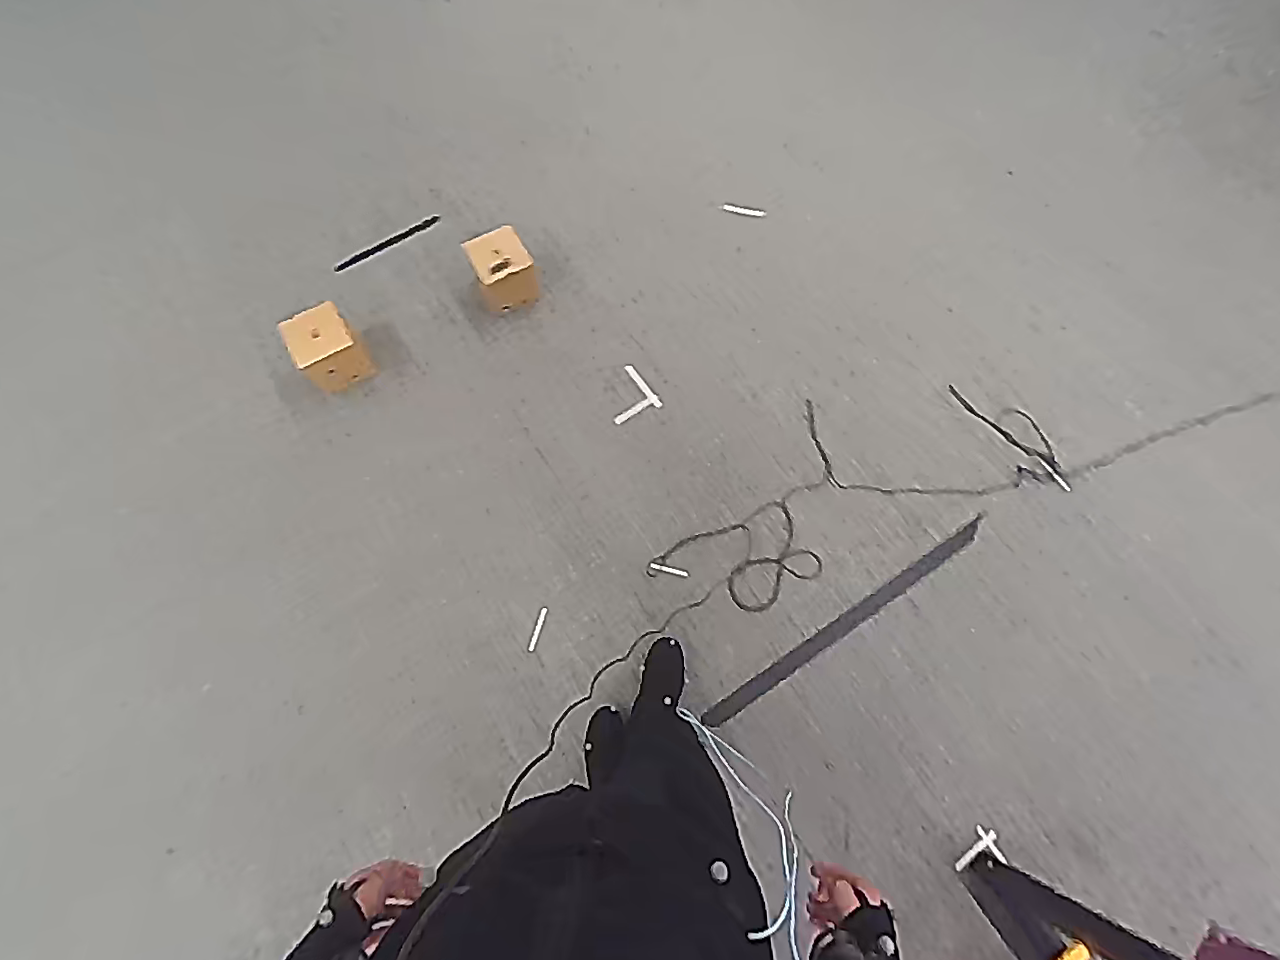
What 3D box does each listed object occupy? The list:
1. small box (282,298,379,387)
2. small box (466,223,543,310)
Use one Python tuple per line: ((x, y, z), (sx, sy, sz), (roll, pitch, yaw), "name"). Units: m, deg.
((-0.925, -0.405, 1.633), (0.168, 0.176, 0.179), (-30, 75, -10), "small box")
((-0.426, -0.672, 1.727), (0.168, 0.176, 0.179), (-28, 74, -10), "small box")
